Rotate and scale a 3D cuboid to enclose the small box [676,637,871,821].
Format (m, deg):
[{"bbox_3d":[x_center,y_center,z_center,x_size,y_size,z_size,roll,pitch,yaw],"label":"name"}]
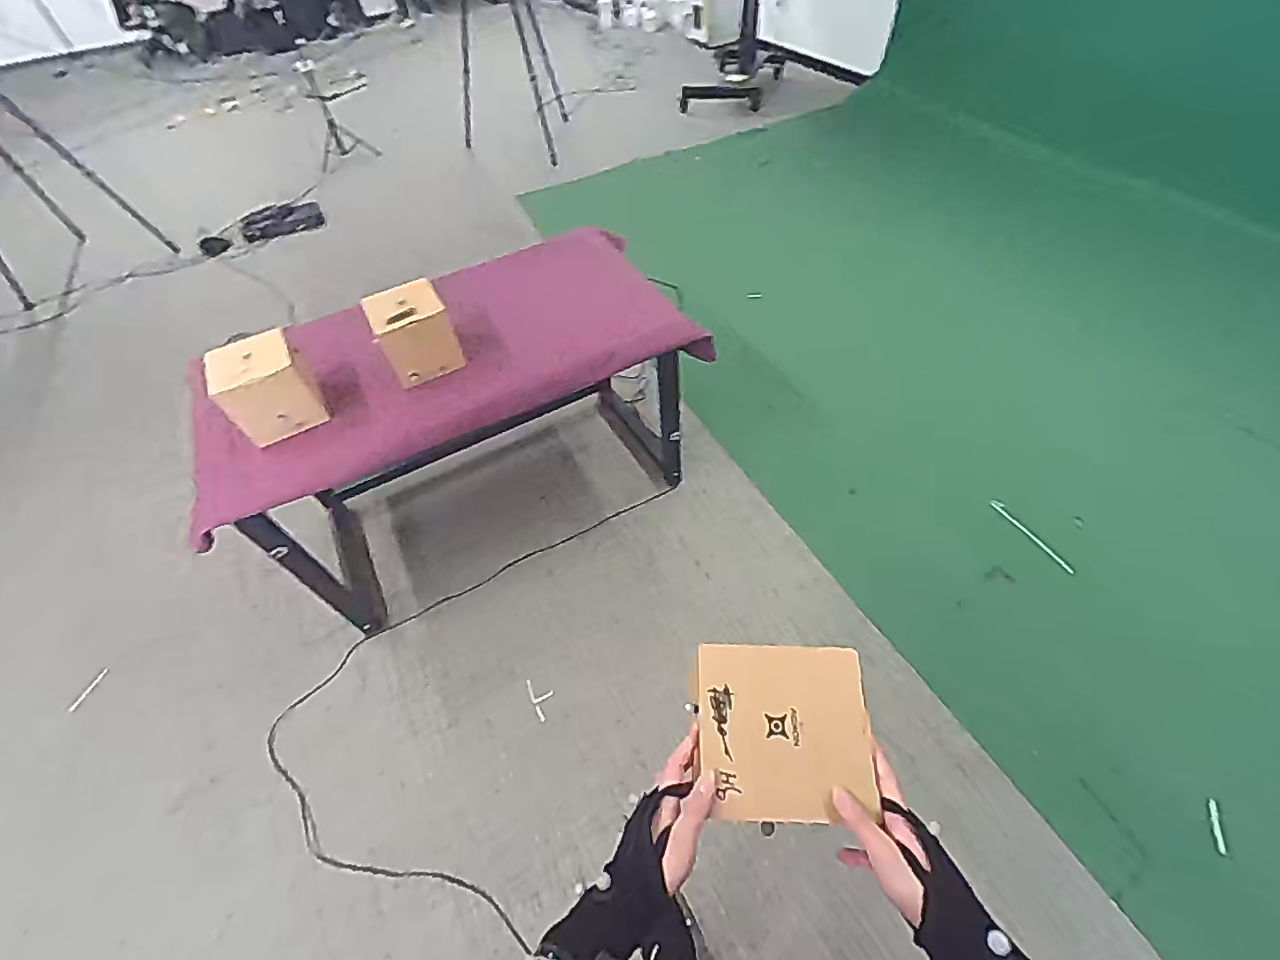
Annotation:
[{"bbox_3d":[0.135,0.287,0.620,0.179,0.176,0.168,2,59,1],"label":"small box"}]

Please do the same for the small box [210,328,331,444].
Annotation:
[{"bbox_3d":[-0.855,-0.217,1.258,0.168,0.176,0.179,-27,55,-16],"label":"small box"}]

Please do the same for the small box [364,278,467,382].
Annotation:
[{"bbox_3d":[-0.555,-0.366,1.351,0.168,0.176,0.179,-26,54,-15],"label":"small box"}]
